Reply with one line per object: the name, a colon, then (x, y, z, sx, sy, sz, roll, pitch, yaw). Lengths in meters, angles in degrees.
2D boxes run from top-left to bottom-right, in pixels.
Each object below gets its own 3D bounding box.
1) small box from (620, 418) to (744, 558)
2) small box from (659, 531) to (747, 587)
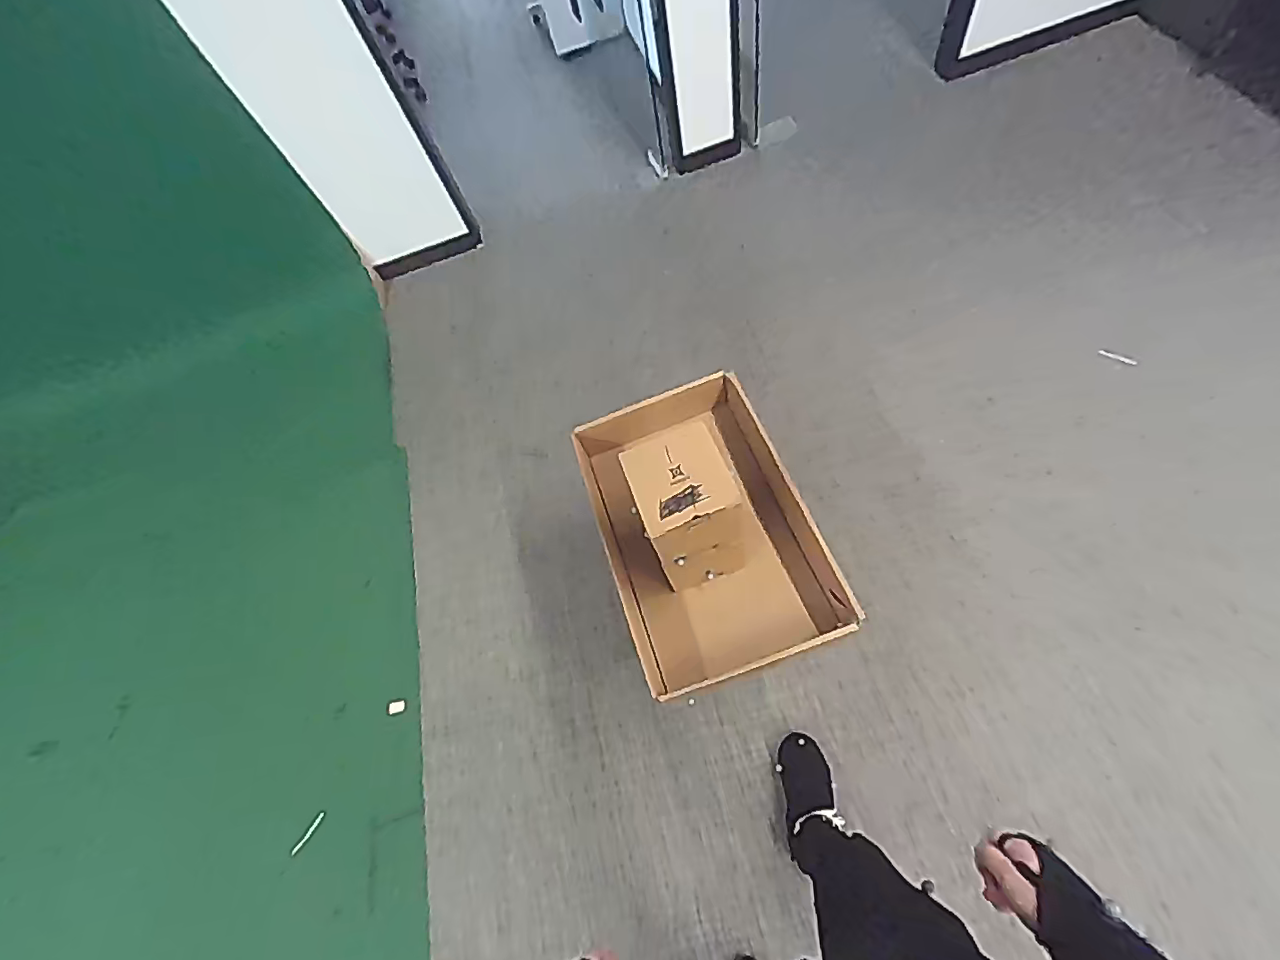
small box: (0.081, 0.025, 0.973, 0.168, 0.176, 0.179, -22, 60, 0)
small box: (0.113, 0.097, 1.117, 0.168, 0.176, 0.179, -20, 61, 2)
